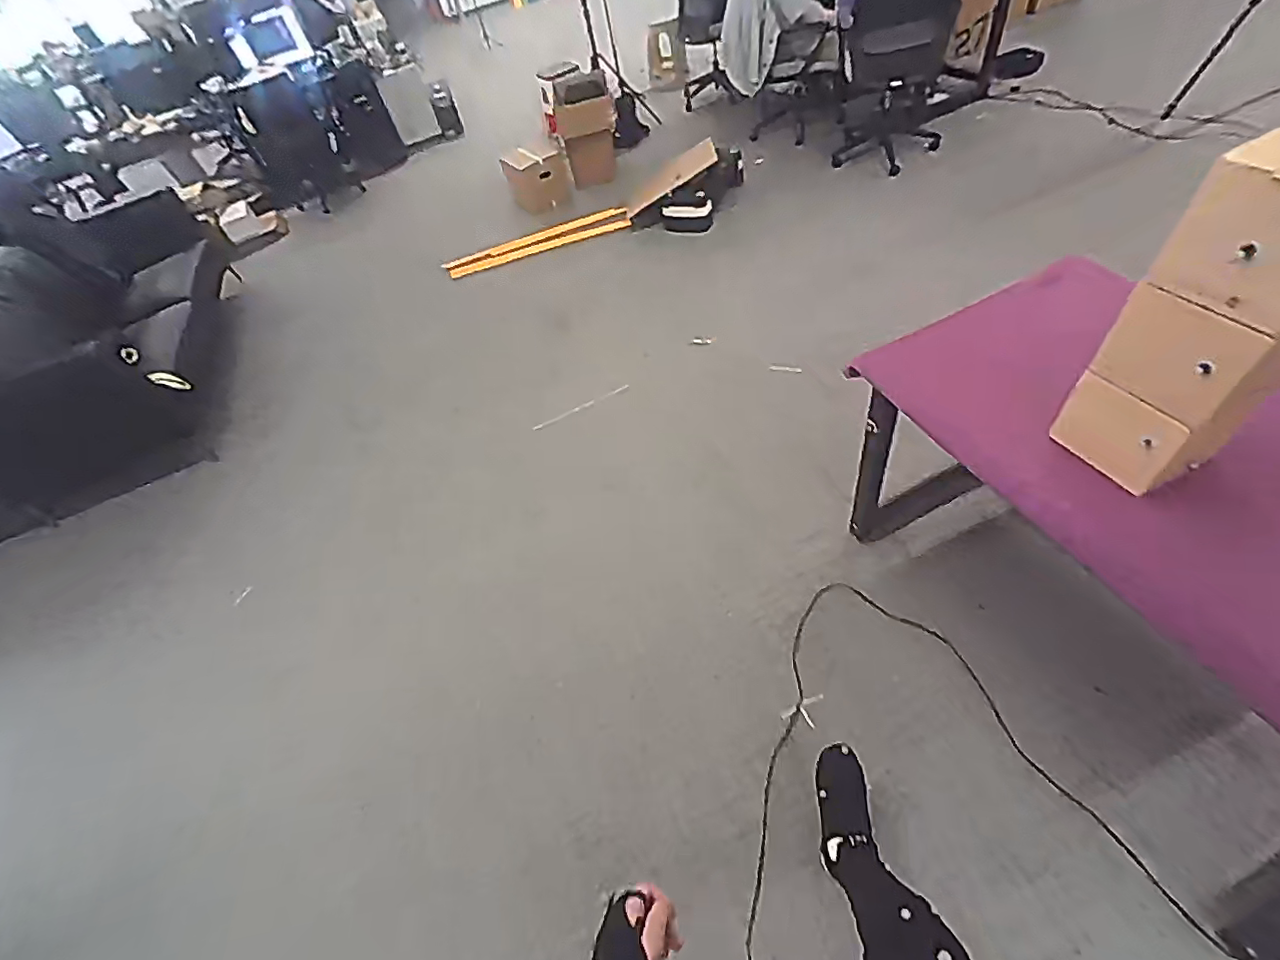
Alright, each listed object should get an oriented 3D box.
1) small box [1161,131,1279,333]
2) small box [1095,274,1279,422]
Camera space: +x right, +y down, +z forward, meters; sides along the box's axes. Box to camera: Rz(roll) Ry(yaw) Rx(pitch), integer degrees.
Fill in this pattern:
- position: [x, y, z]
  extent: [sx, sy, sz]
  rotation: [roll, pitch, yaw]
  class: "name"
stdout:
- position: [0.808, -0.310, 0.663]
  extent: [0.179, 0.176, 0.168]
  rotation: [-26, 50, -7]
  class: "small box"
- position: [0.834, -0.206, 0.785]
  extent: [0.168, 0.176, 0.179]
  rotation: [-25, 49, -7]
  class: "small box"
